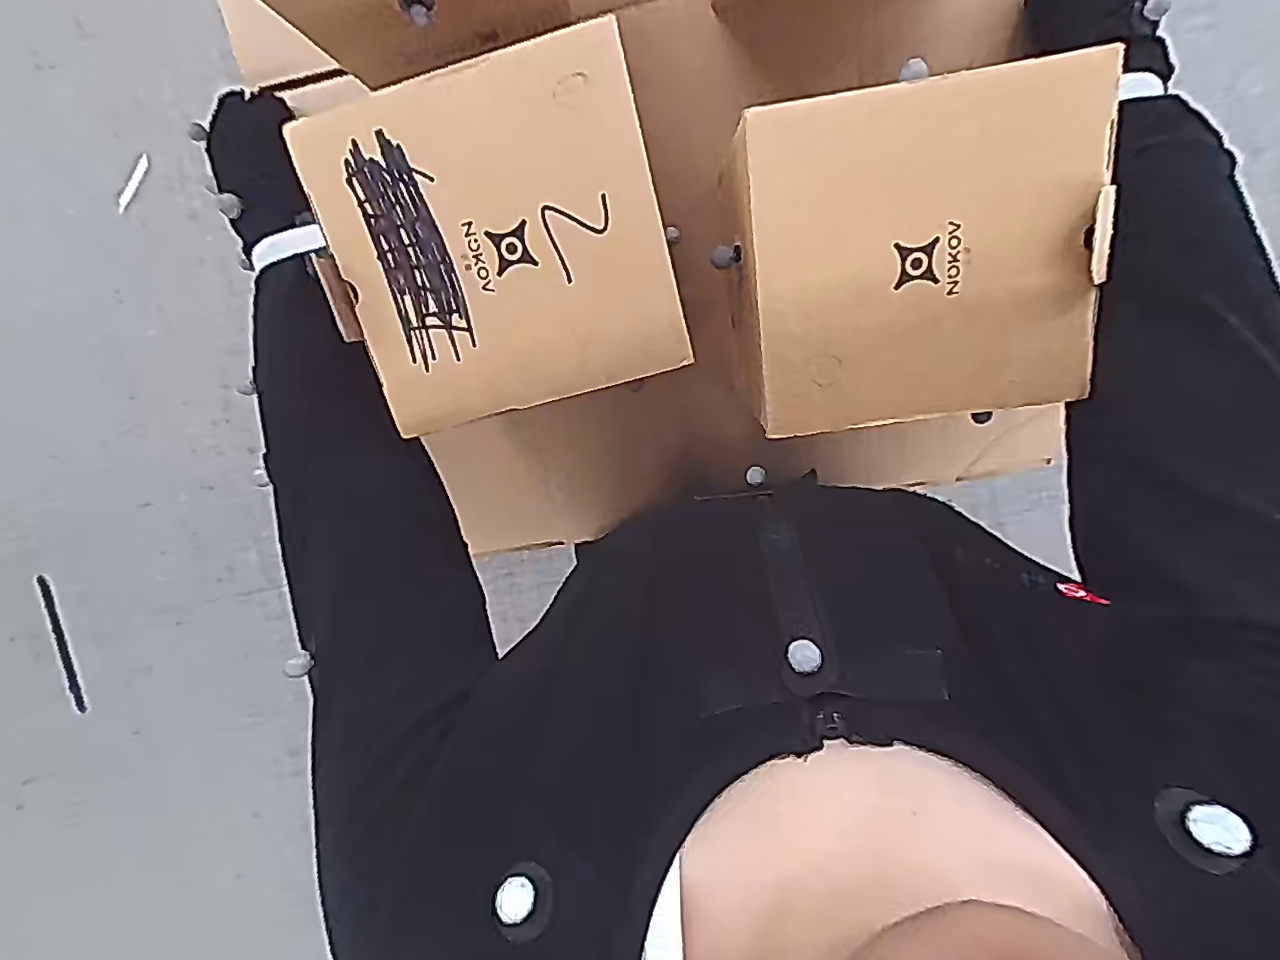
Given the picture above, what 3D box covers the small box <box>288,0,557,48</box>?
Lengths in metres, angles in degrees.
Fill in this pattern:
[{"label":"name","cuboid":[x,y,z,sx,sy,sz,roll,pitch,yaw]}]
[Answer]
[{"label":"small box","cuboid":[-0.151,-0.379,0.295,0.168,0.176,0.179,-10,106,5]}]
